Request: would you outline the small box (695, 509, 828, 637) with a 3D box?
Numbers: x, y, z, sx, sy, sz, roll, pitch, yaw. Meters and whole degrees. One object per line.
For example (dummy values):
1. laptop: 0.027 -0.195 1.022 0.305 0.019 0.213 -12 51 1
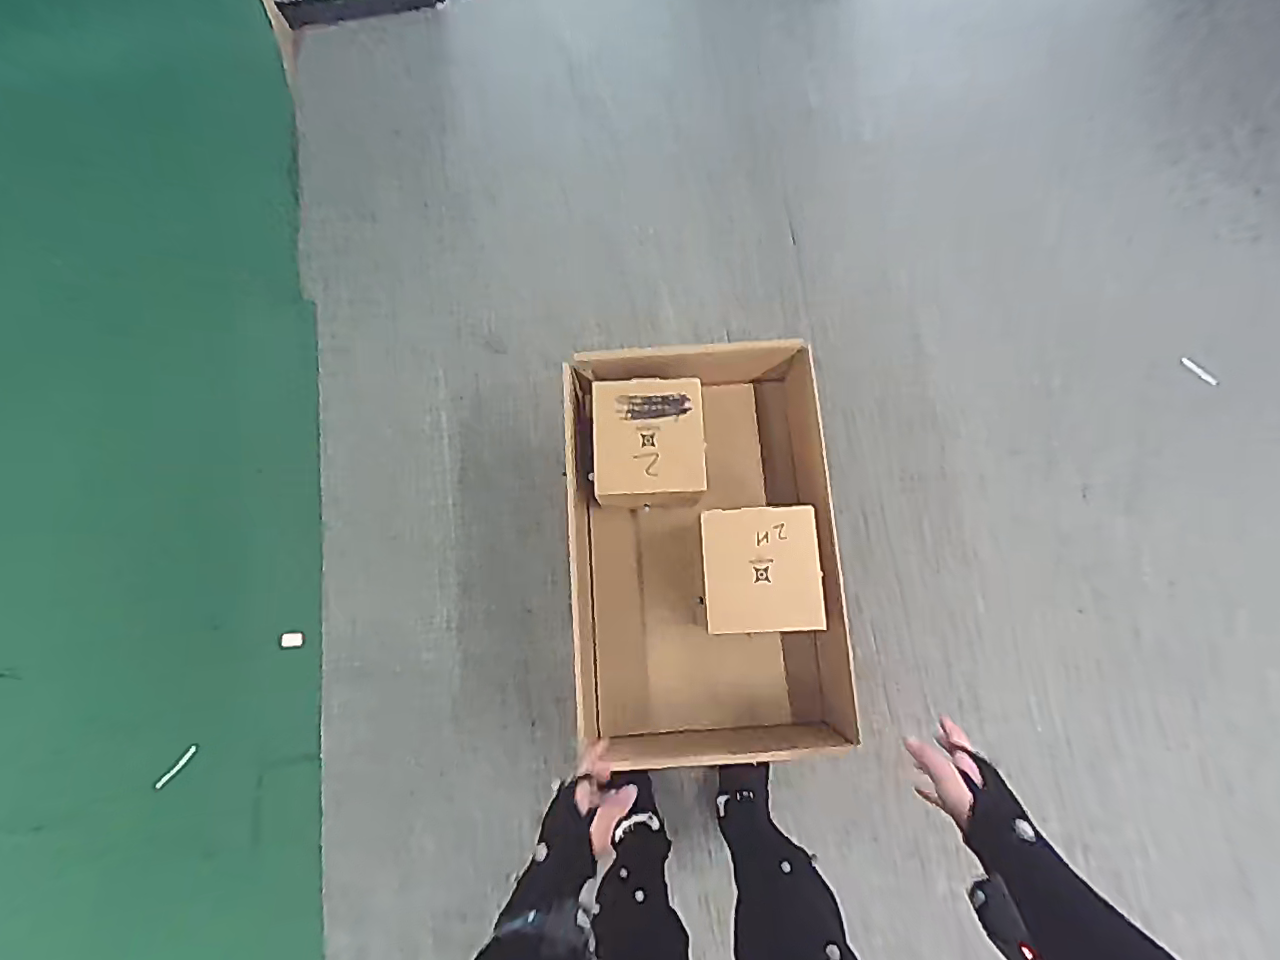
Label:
1. small box: 0.175 0.142 0.831 0.168 0.176 0.179 -2 79 0
